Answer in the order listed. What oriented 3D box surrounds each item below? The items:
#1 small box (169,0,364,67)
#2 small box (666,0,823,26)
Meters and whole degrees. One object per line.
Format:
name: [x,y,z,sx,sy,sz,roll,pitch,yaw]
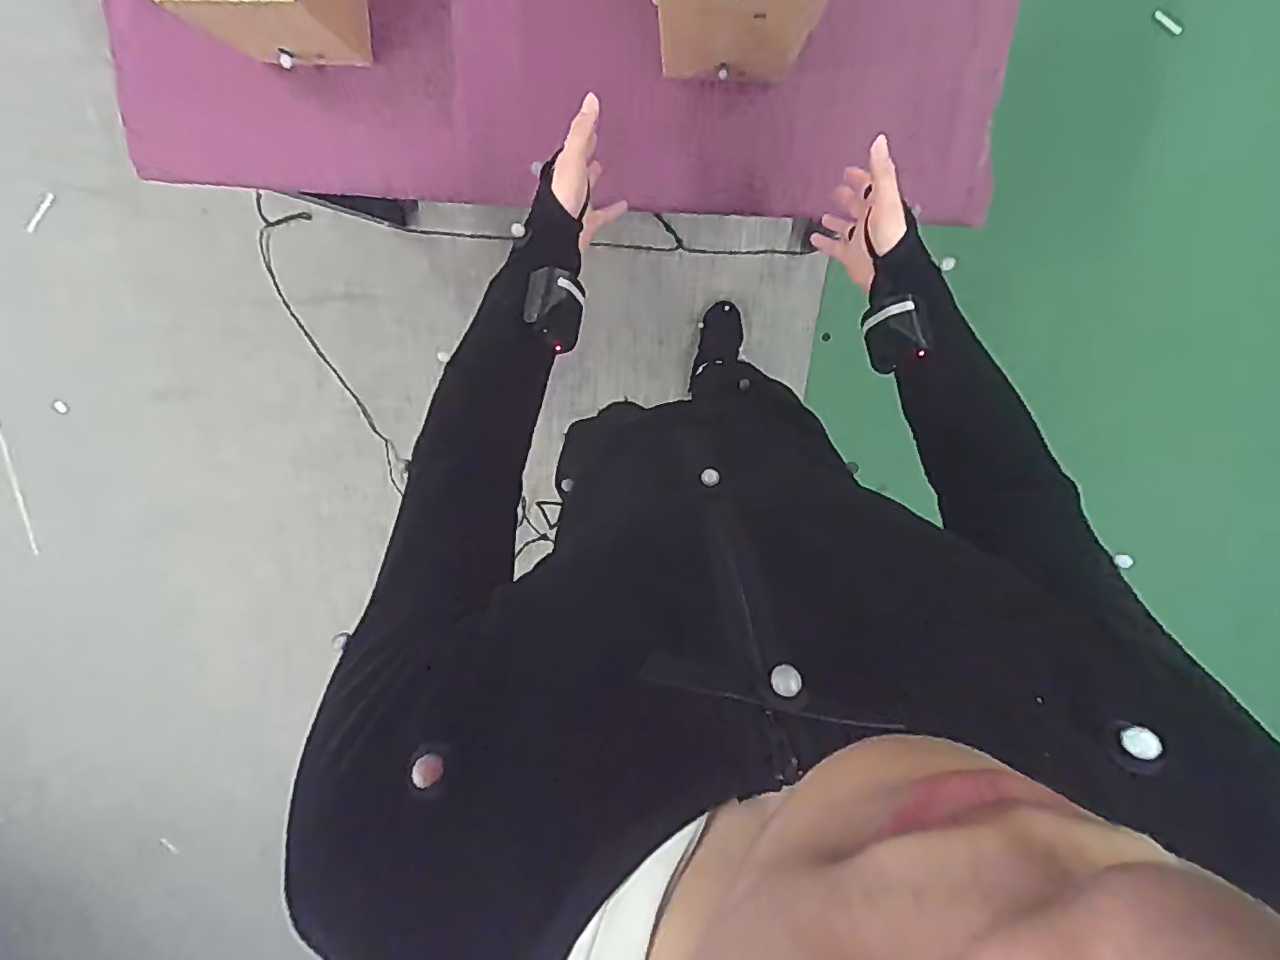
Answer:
small box: [-0.450,-0.625,0.631,0.168,0.176,0.179,4,107,2]
small box: [0.101,-0.528,0.458,0.168,0.176,0.179,5,107,1]
